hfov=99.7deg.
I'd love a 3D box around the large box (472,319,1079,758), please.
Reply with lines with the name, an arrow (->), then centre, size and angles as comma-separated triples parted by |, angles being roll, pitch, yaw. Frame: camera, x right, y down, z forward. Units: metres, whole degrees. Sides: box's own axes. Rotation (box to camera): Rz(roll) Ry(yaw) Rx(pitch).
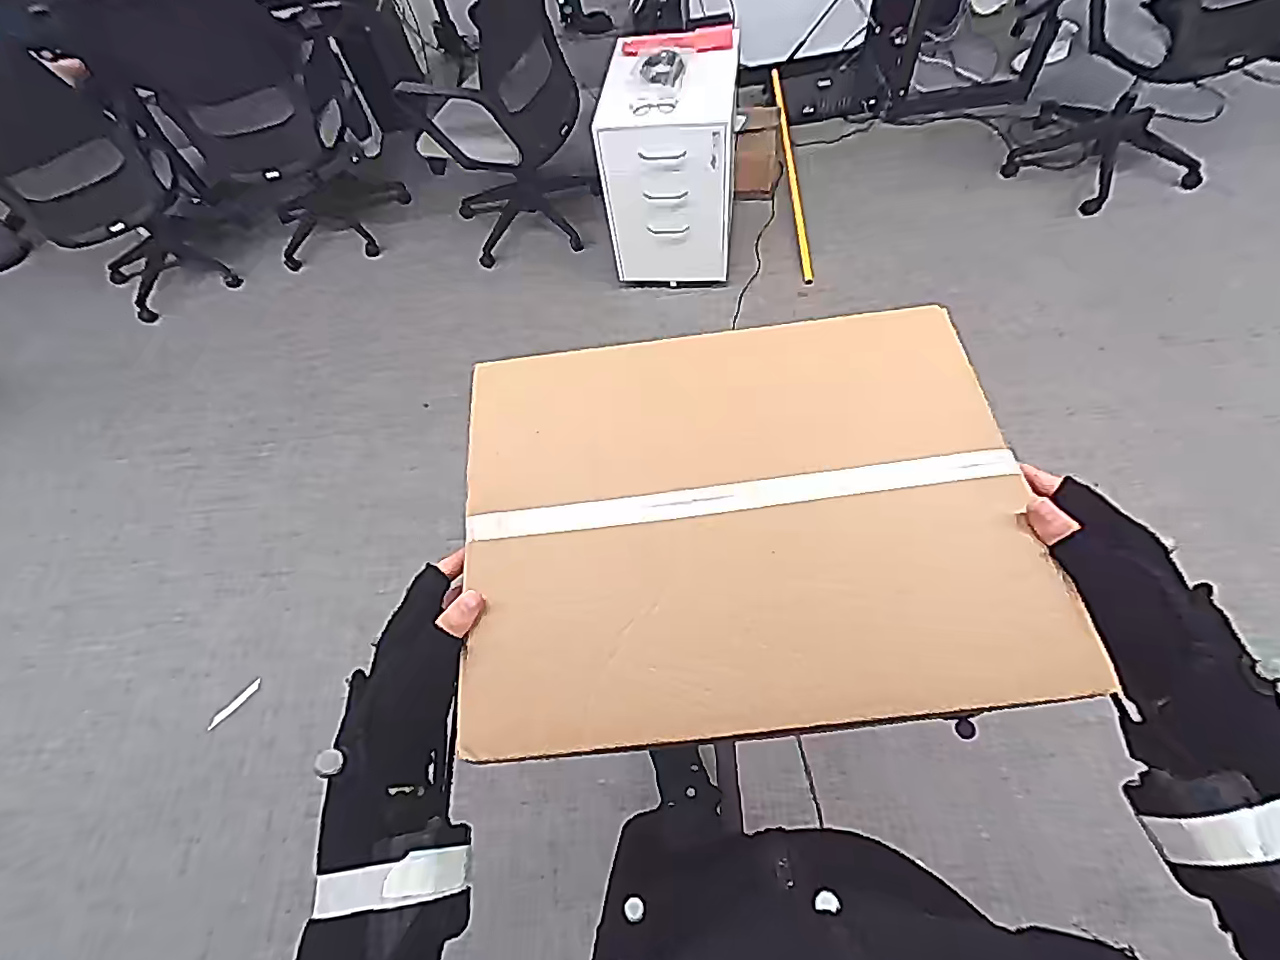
large box -> 0.083, 0.082, 0.546 | 0.408, 0.320, 0.320 | -7, 63, 1
